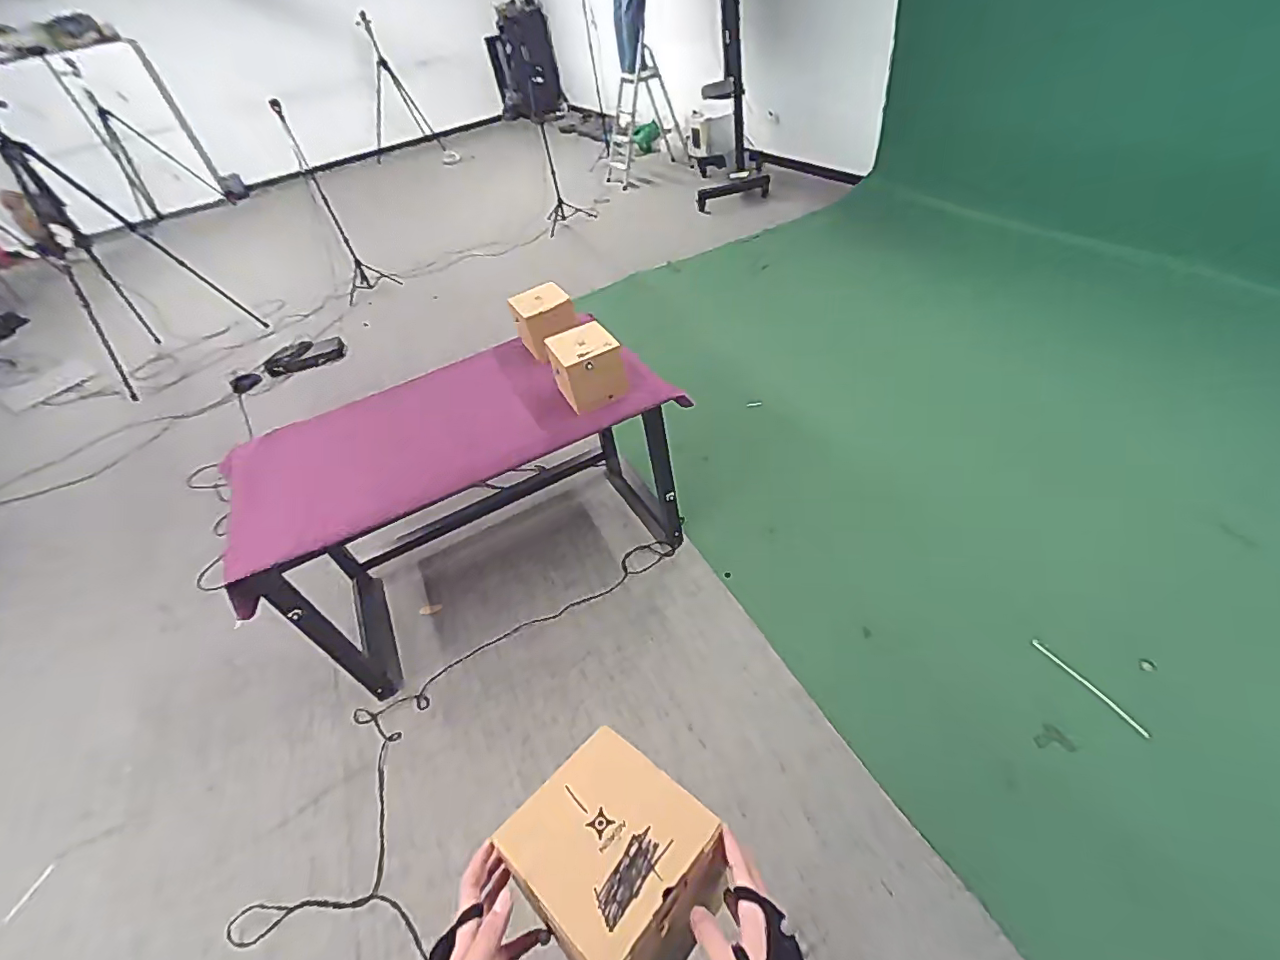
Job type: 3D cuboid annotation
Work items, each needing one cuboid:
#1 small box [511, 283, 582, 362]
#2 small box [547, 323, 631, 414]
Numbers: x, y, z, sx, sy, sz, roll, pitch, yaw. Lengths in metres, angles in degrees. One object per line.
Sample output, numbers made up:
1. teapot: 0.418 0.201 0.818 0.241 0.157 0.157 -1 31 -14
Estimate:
1. small box: -0.303 -0.521 1.791 0.168 0.176 0.179 -29 47 -11
2. small box: -0.145 -0.318 1.546 0.168 0.176 0.179 -26 45 -11
